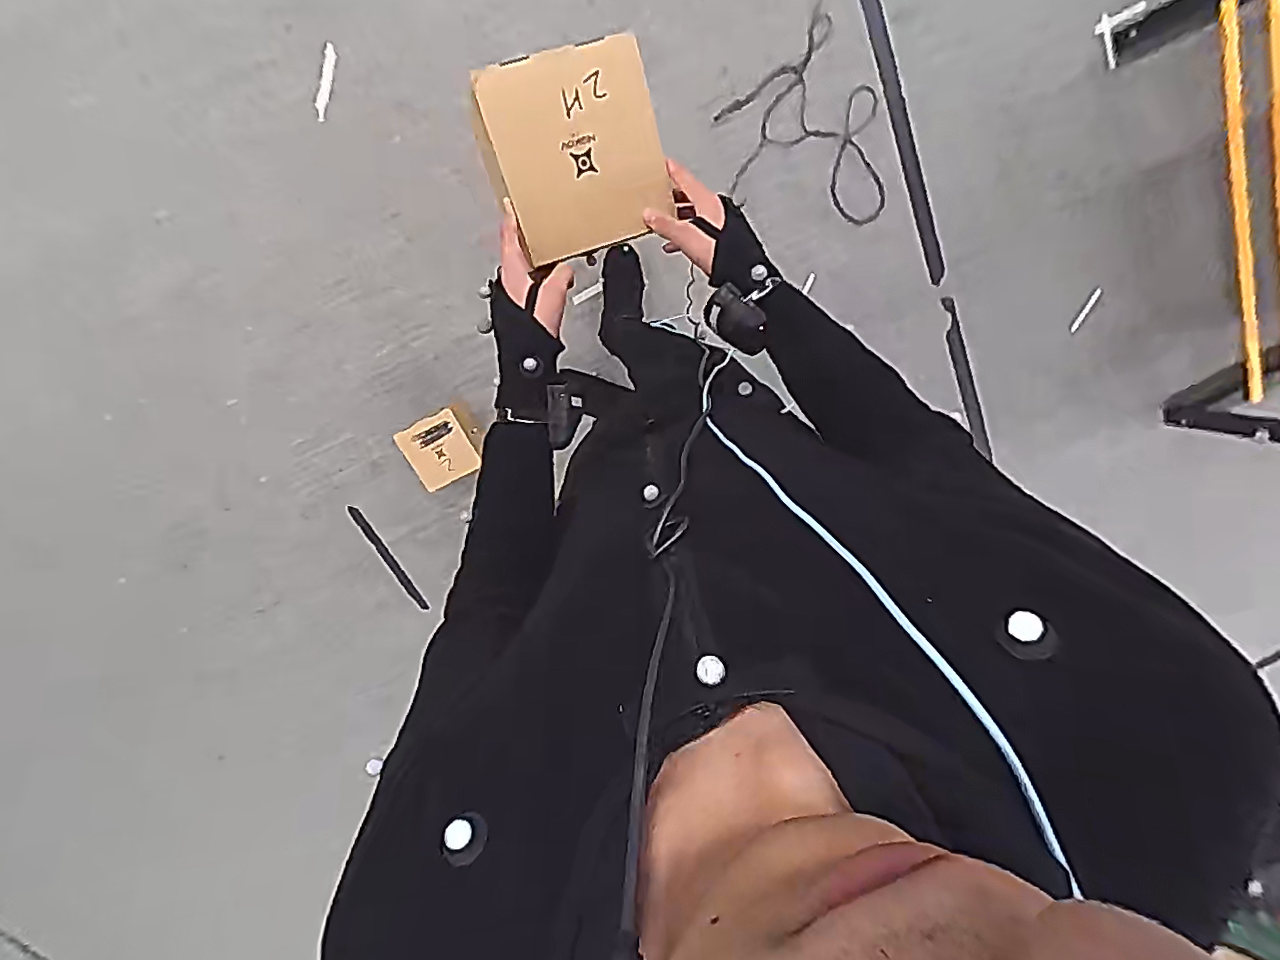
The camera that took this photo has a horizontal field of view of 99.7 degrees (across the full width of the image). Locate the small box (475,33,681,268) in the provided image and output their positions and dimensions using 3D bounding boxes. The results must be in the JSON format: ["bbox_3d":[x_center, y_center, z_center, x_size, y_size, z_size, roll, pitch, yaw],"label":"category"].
[{"bbox_3d":[-0.073,-0.347,0.606,0.168,0.176,0.179,-21,112,-9],"label":"small box"}]
